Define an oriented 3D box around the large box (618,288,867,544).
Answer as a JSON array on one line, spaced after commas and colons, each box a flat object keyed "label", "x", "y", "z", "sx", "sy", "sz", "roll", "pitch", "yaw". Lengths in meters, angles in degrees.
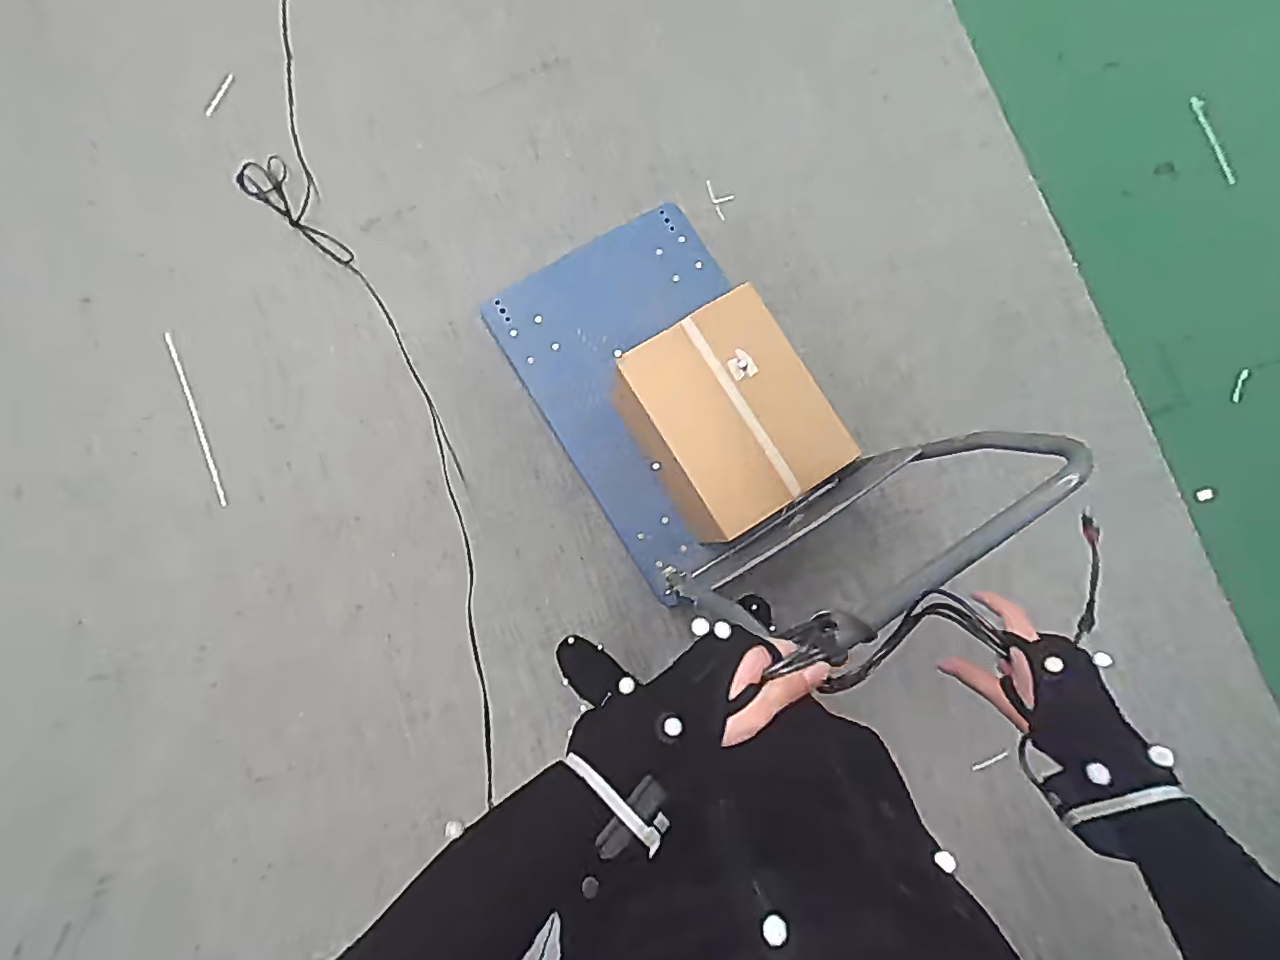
[{"label": "large box", "x": 0.187, "y": -0.110, "z": 1.158, "sx": 0.320, "sy": 0.320, "sz": 0.408, "roll": -32, "pitch": 86, "yaw": -8}]
